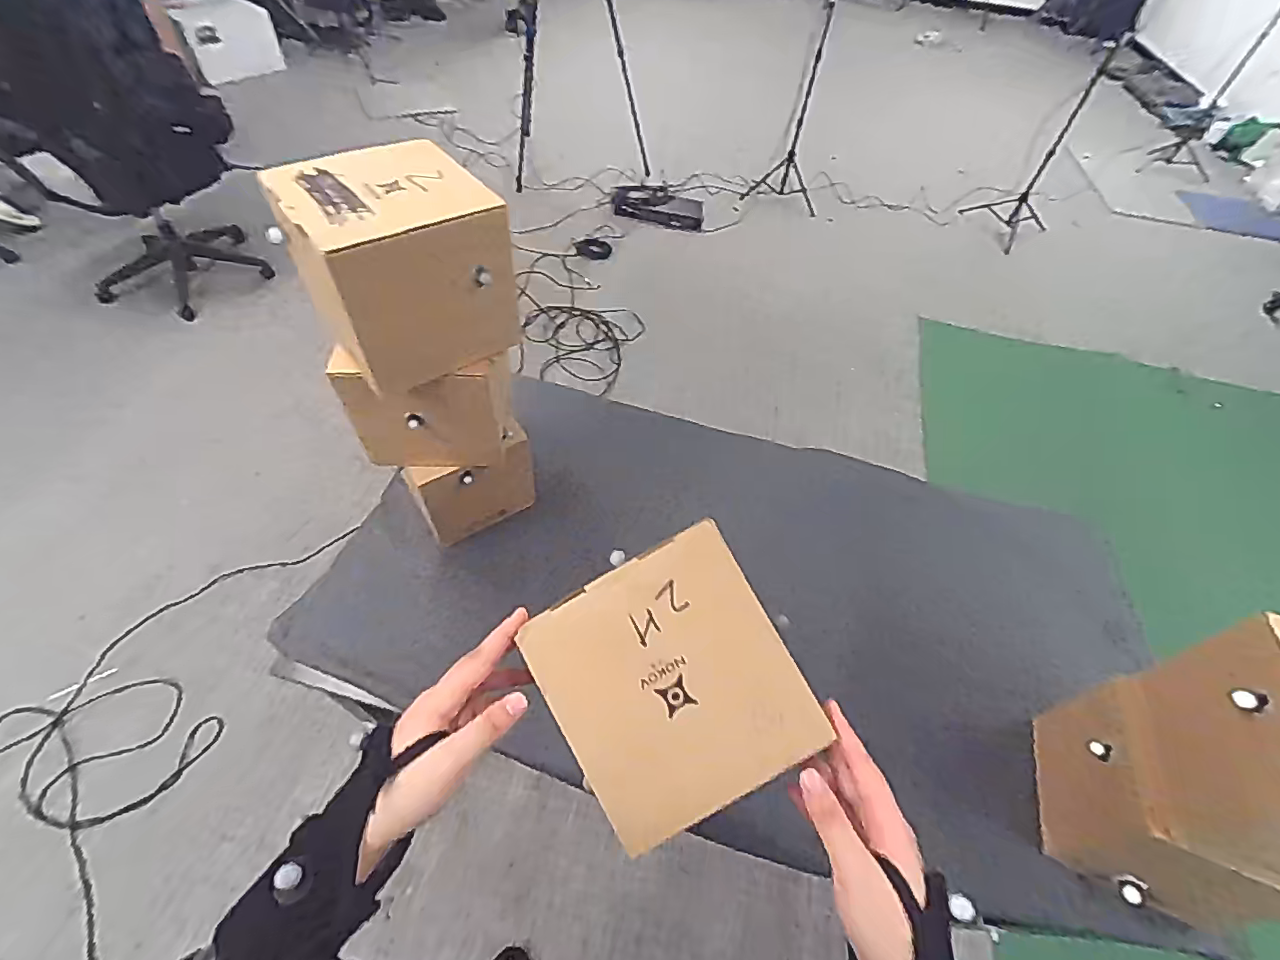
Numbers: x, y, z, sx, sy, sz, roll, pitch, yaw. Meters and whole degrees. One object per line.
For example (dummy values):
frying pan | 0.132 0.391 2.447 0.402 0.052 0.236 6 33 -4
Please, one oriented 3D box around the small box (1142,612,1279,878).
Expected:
small box | 0.614 0.257 0.484 0.168 0.176 0.179 18 48 11

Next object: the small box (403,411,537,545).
small box | -0.277 -0.032 0.849 0.168 0.176 0.179 -27 59 -23

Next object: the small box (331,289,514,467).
small box | -0.267 -0.129 0.717 0.179 0.176 0.168 -1 53 -5

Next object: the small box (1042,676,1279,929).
small box | 0.589 0.361 0.607 0.168 0.176 0.179 20 50 13
